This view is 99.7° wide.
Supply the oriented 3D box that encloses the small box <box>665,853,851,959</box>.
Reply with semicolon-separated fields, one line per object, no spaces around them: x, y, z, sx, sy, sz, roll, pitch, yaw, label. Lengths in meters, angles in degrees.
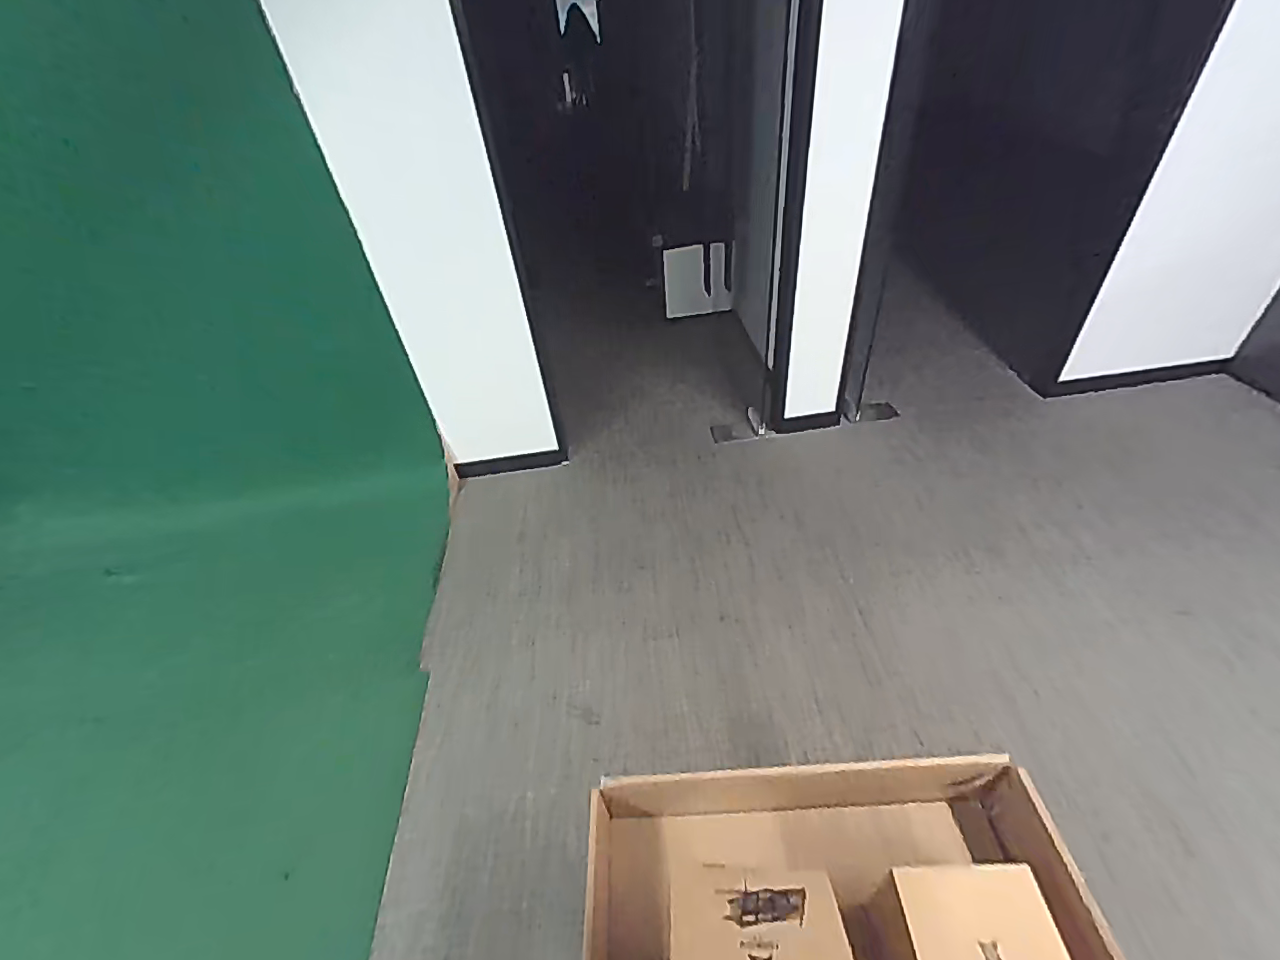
0.107;0.503;0.514;0.168;0.176;0.179;1;16;3;small box
